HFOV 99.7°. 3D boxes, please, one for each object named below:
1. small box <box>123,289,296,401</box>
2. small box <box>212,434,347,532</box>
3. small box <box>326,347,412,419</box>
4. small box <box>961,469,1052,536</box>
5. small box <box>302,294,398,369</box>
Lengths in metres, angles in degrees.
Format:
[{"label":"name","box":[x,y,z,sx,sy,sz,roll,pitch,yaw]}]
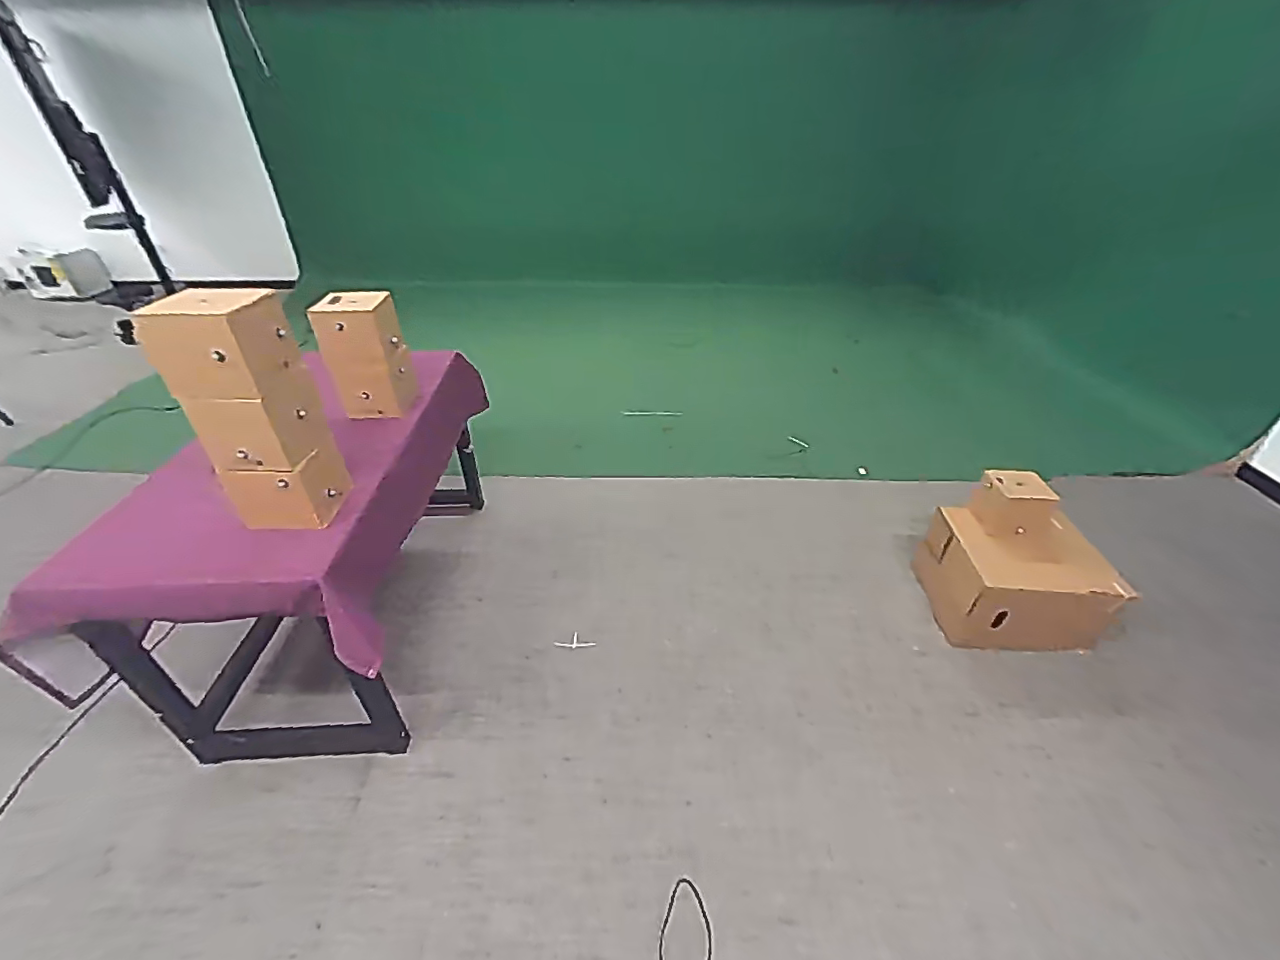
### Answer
[{"label":"small box","box":[-0.820,-0.262,1.057,0.179,0.176,0.168,0,35,0]},{"label":"small box","box":[-0.815,0.007,1.244,0.179,0.176,0.168,0,35,-1]},{"label":"small box","box":[-0.824,-0.298,1.668,0.168,0.176,0.179,0,36,-1]},{"label":"small box","box":[1.262,0.079,1.874,0.179,0.176,0.168,3,34,1]},{"label":"small box","box":[-0.833,-0.431,1.571,0.179,0.176,0.168,-2,36,-3]}]
